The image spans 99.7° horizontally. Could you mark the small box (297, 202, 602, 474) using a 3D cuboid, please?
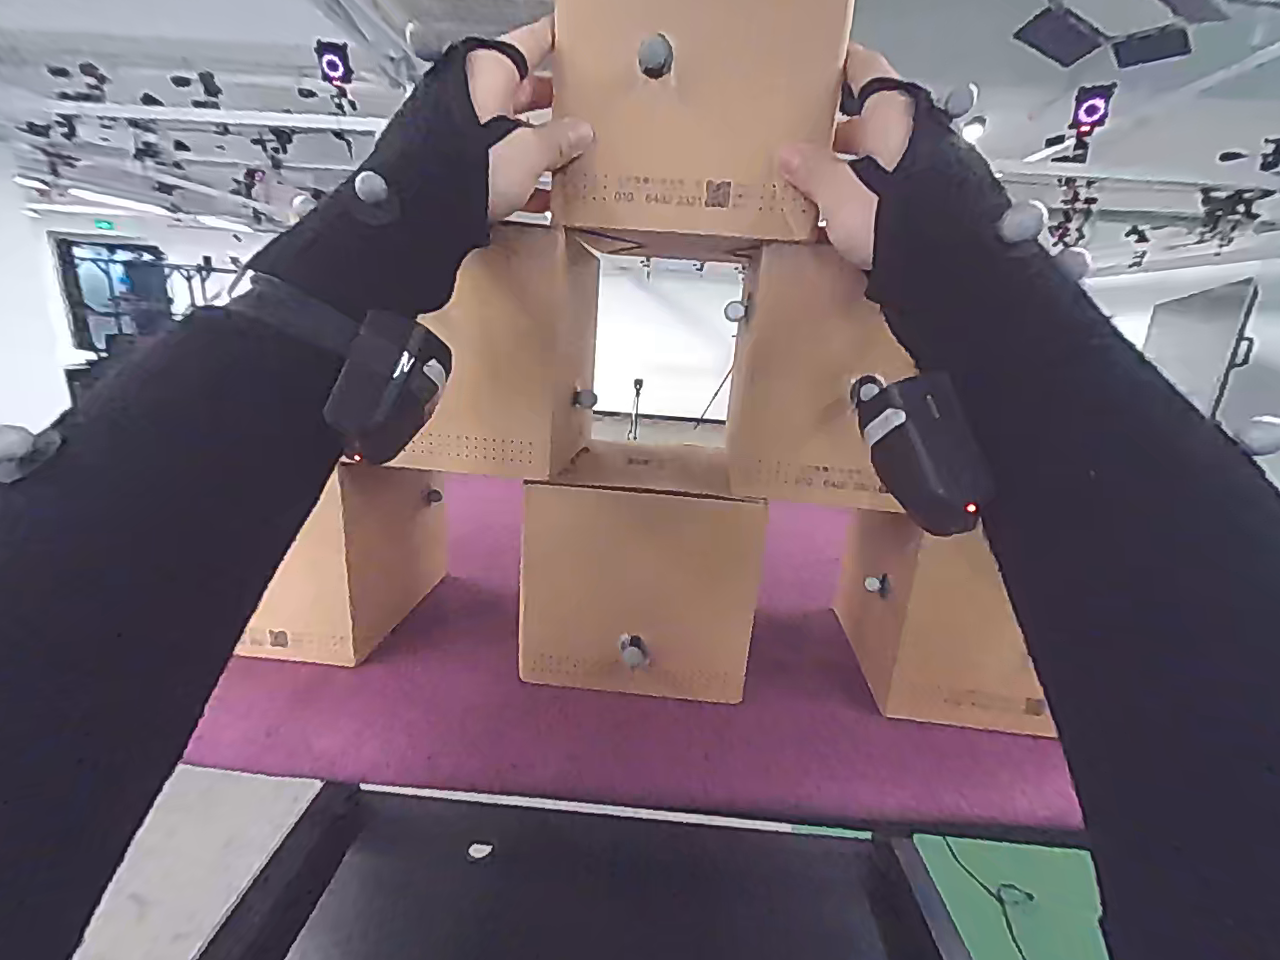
[{"bbox_3d":[-0.132,-0.106,0.432,0.179,0.176,0.168,6,16,3],"label":"small box"}]

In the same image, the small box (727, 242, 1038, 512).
[{"bbox_3d":[0.160,-0.082,0.424,0.168,0.176,0.179,6,16,5],"label":"small box"}]

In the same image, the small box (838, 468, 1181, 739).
[{"bbox_3d":[0.280,0.088,0.461,0.168,0.176,0.179,6,15,6],"label":"small box"}]

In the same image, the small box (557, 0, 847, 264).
[{"bbox_3d":[0.042,-0.250,0.385,0.168,0.176,0.179,6,17,6],"label":"small box"}]
